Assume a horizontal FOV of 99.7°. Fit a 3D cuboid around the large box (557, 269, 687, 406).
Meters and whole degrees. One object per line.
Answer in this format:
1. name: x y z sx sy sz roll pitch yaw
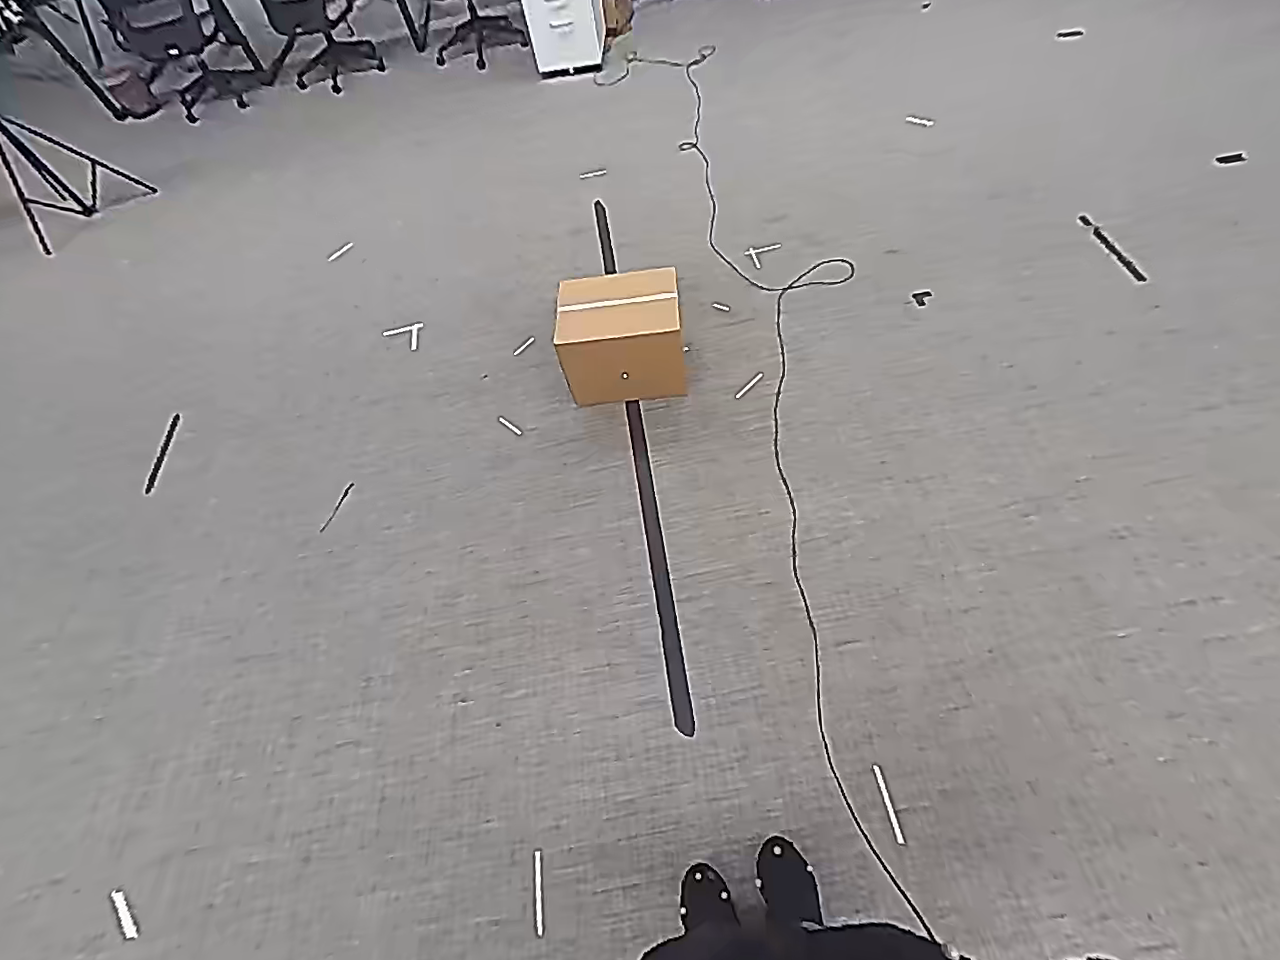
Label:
1. large box: -0.054 -0.486 1.883 0.408 0.320 0.320 -5 58 6
